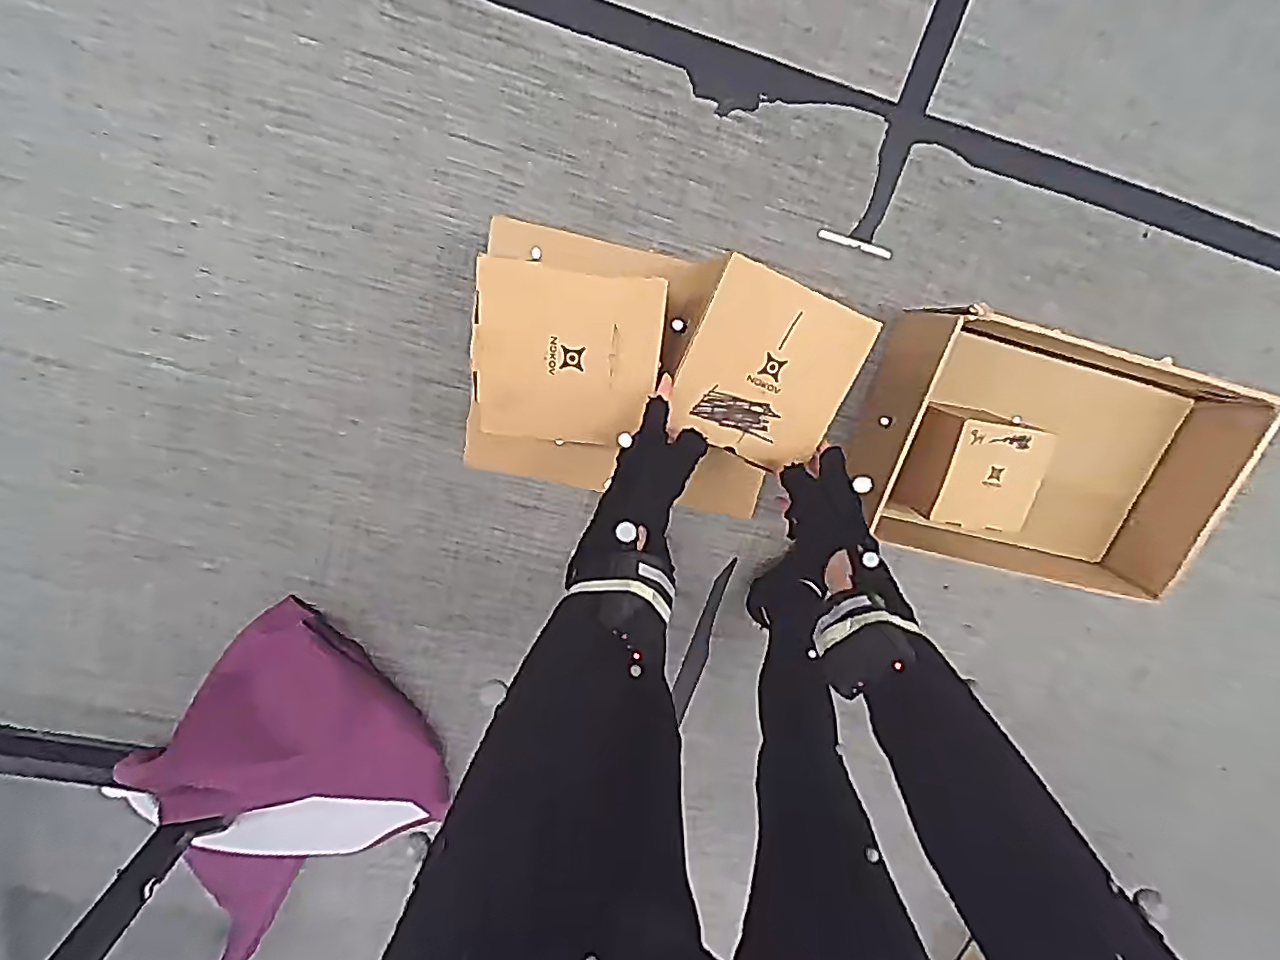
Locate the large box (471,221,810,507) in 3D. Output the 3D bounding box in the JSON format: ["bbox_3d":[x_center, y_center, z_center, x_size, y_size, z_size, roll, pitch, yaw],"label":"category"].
[{"bbox_3d":[-0.019,-0.179,0.841,0.408,0.320,0.320,10,108,-8],"label":"large box"}]
